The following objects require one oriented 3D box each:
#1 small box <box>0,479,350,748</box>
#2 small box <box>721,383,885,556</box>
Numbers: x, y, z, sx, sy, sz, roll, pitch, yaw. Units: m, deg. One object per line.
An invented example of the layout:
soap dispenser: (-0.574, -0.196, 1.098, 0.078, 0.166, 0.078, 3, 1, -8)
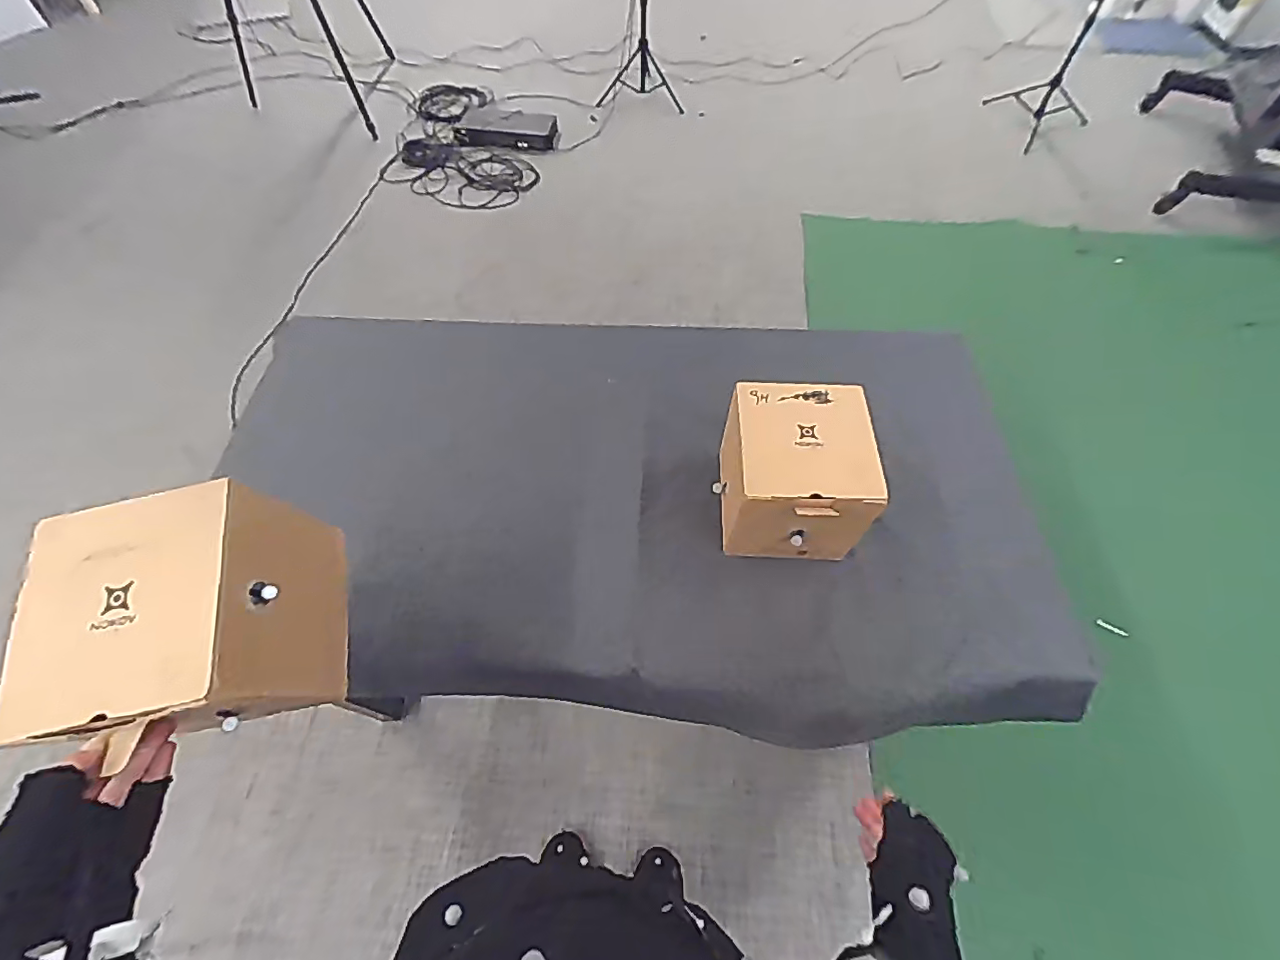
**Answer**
small box: (-0.384, 0.122, 0.483, 0.168, 0.176, 0.179, -13, 67, 0)
small box: (0.202, -0.008, 0.725, 0.168, 0.176, 0.179, 2, 59, 1)
